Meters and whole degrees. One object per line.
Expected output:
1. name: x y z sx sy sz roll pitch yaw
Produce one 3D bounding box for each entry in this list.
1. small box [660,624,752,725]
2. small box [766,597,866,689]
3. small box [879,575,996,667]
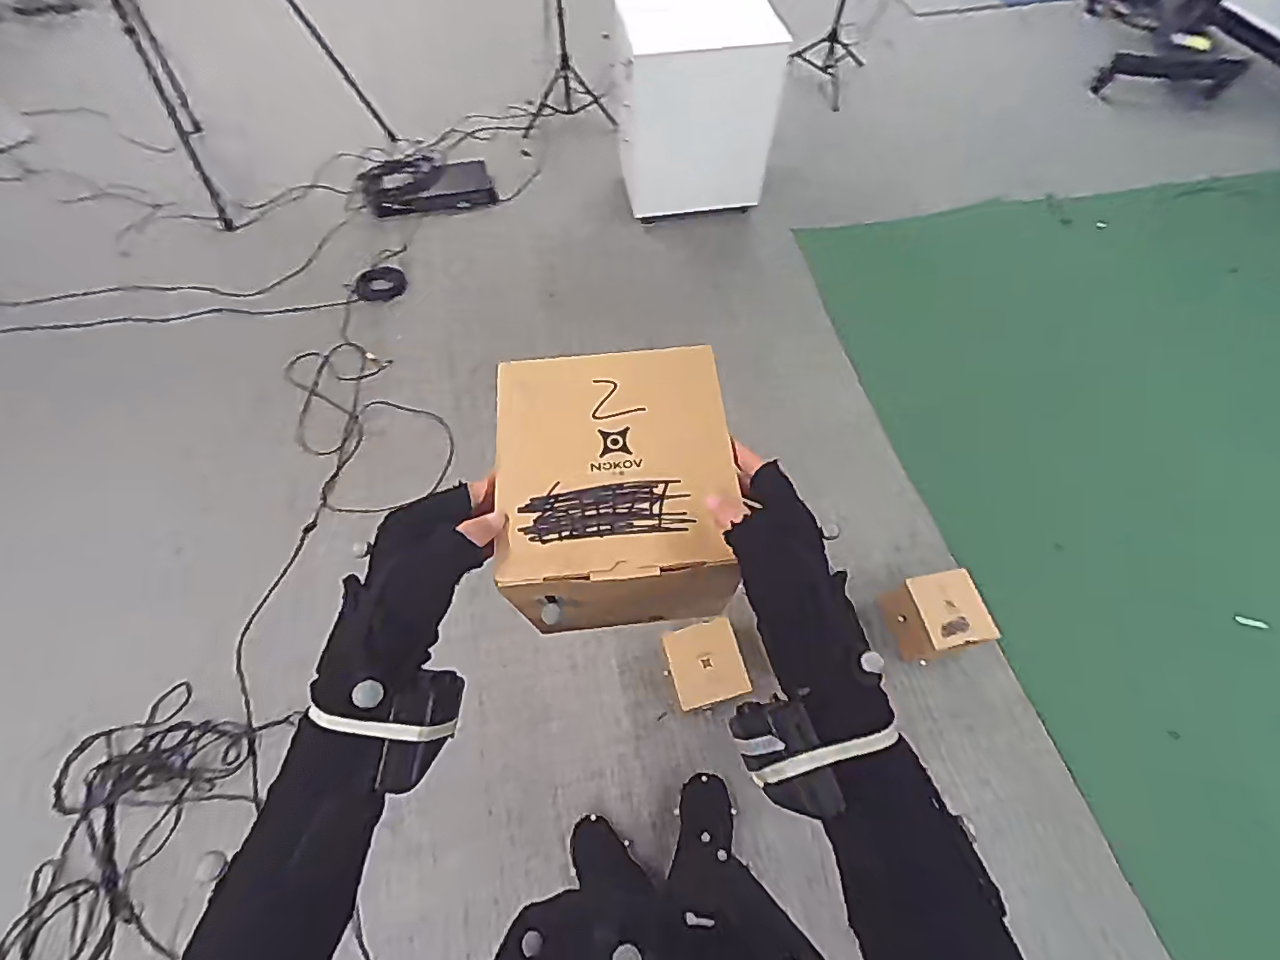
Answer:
1. small box: 0.148 0.468 1.292 0.168 0.176 0.179 -14 63 -7
2. small box: 0.423 0.405 1.334 0.168 0.176 0.179 -5 61 -4
3. small box: 0.738 0.363 1.364 0.168 0.176 0.179 -10 60 -7
